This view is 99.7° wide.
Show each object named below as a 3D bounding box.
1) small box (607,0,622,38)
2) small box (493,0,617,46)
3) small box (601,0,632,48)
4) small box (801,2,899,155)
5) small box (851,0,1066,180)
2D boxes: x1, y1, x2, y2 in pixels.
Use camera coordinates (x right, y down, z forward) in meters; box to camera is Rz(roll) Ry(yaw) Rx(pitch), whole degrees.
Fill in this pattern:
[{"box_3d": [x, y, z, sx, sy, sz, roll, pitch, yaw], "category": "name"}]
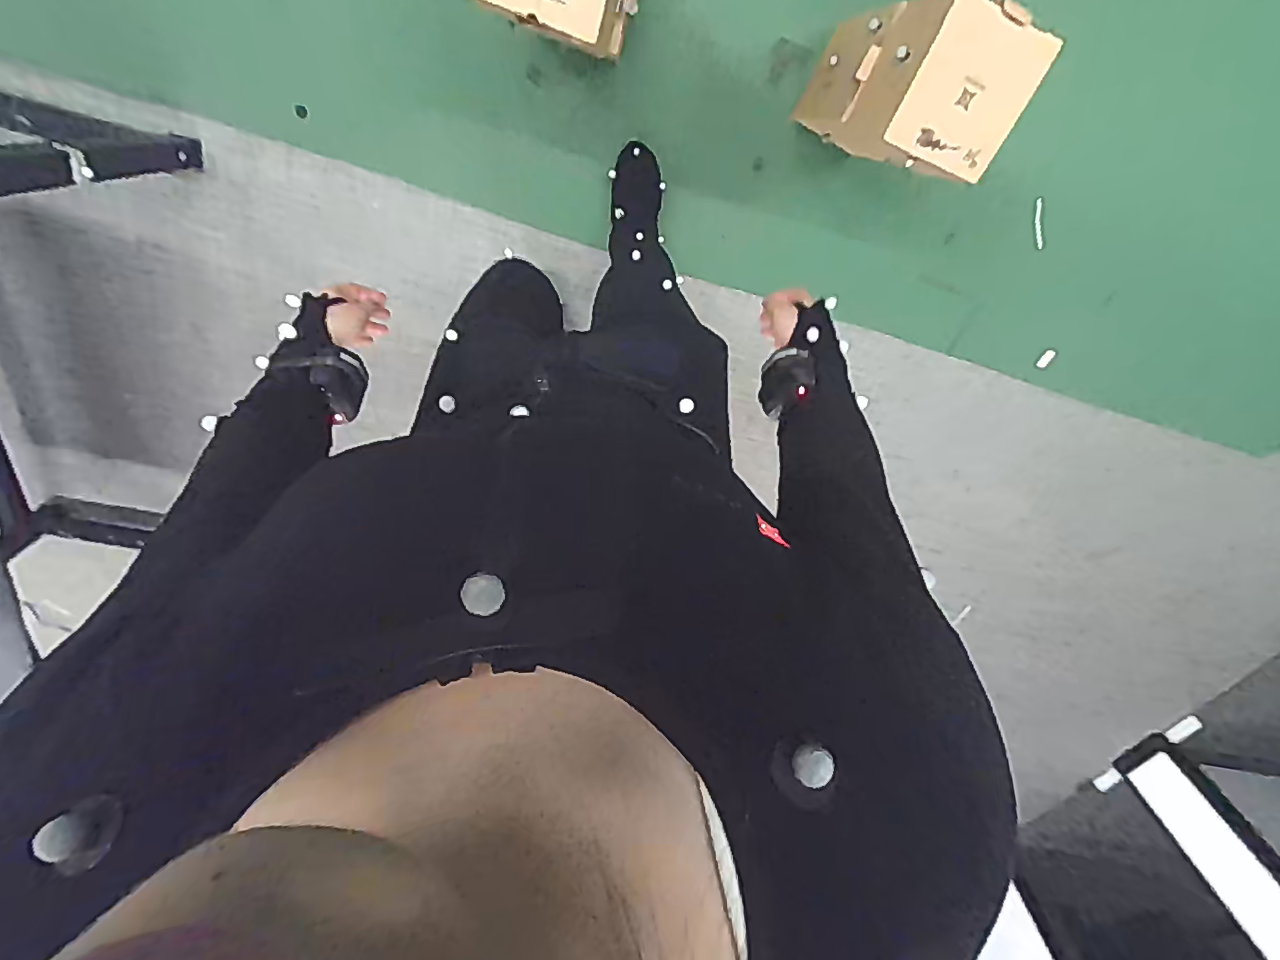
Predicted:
[{"box_3d": [-0.104, -0.783, 0.800, 0.179, 0.176, 0.168, 14, 125, -13], "category": "small box"}, {"box_3d": [-0.101, -0.678, 0.674, 0.168, 0.176, 0.179, 14, 123, -12], "category": "small box"}, {"box_3d": [-0.098, -0.876, 0.934, 0.179, 0.176, 0.168, 12, 125, -11], "category": "small box"}, {"box_3d": [0.433, -0.766, 1.045, 0.168, 0.176, 0.179, 19, 122, -17], "category": "small box"}, {"box_3d": [0.439, -0.567, 0.782, 0.168, 0.176, 0.179, 15, 123, -15], "category": "small box"}]
